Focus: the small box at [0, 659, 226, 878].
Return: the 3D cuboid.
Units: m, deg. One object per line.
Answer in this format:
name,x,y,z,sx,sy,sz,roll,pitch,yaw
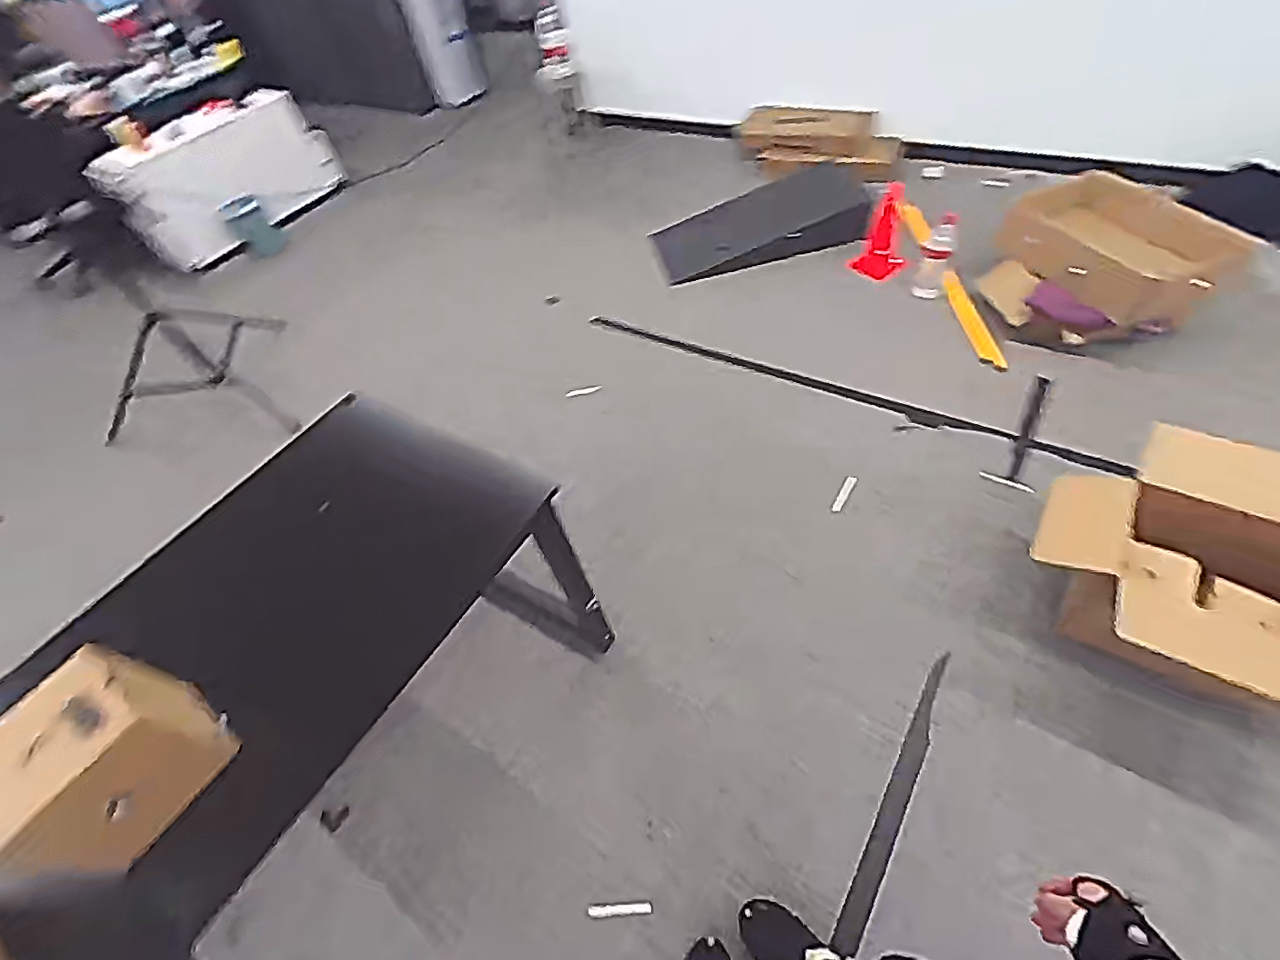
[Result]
small box,-0.687,0.370,0.696,0.168,0.176,0.179,23,60,25
